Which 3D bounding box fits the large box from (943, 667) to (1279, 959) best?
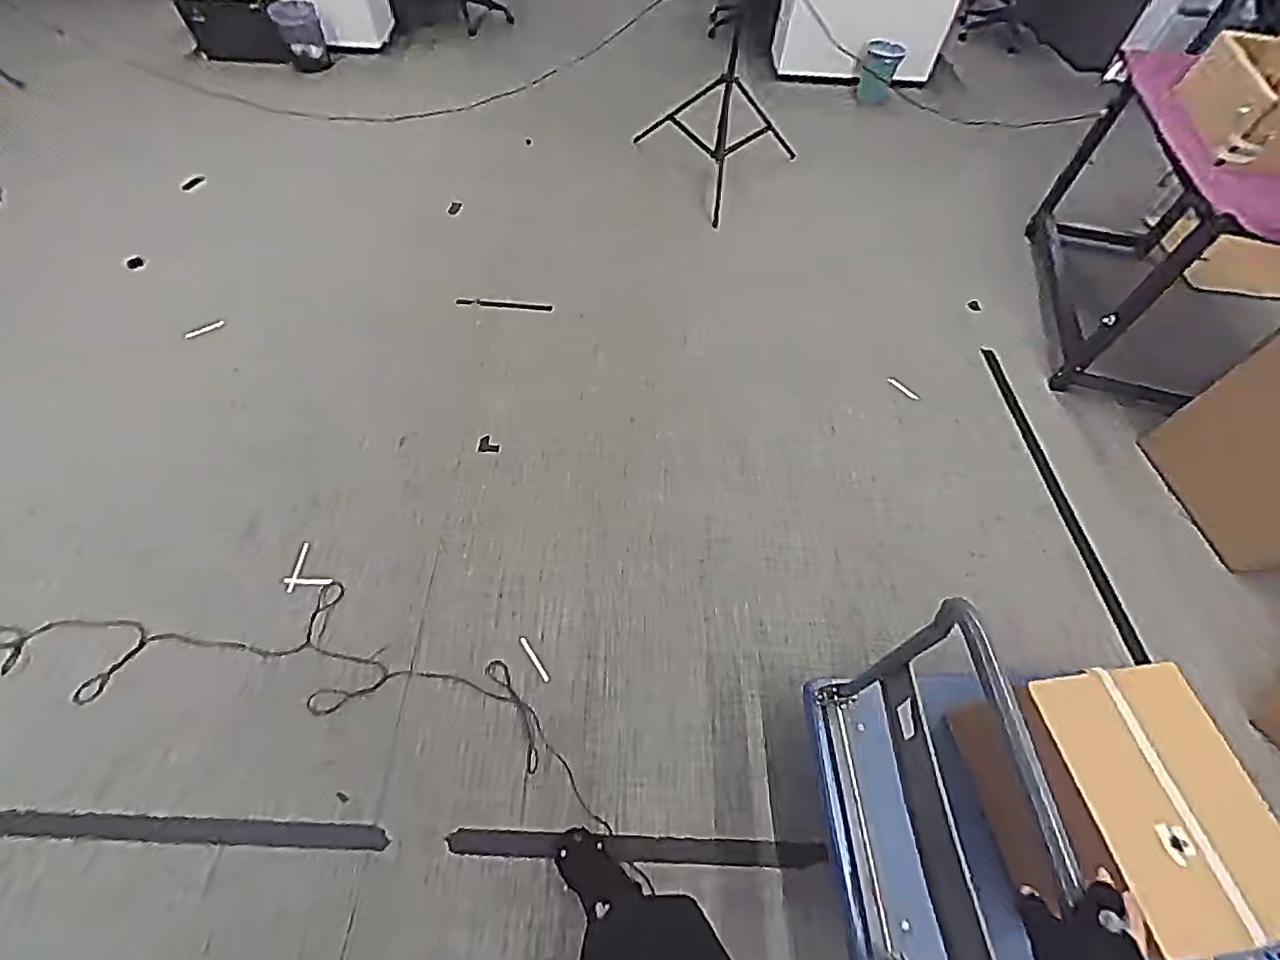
[{"bbox_3d":[0.883,0.619,1.043,0.320,0.320,0.408,-6,57,-6],"label":"large box"}]
